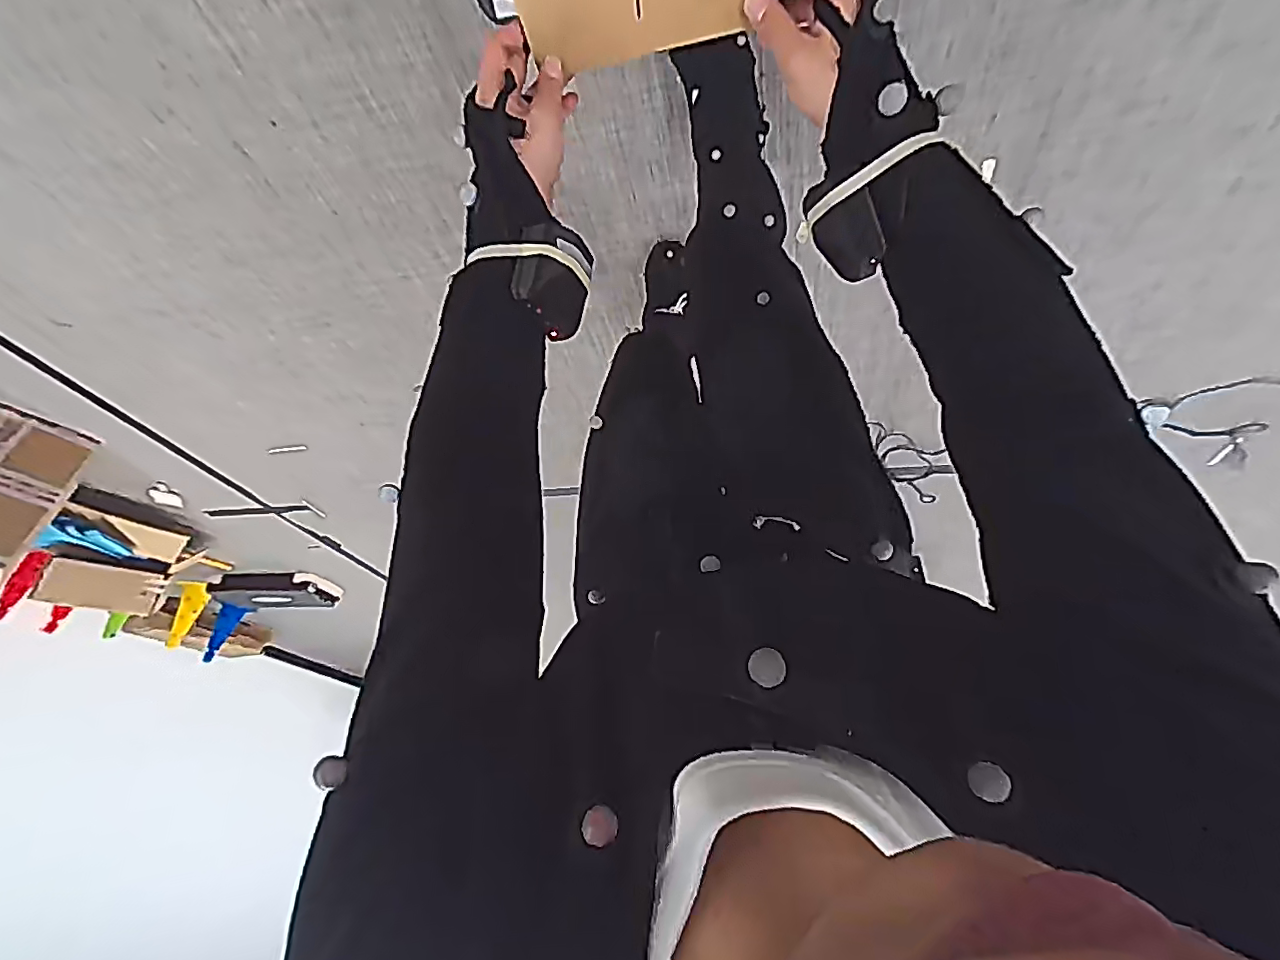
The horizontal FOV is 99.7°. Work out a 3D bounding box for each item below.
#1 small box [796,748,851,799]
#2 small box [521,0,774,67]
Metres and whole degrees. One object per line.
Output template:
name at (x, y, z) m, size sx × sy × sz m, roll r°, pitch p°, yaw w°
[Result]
small box at (0.718, 1.156, 2.129) m, size 0.179 × 0.176 × 0.168 m, roll -4°, pitch 147°, yaw 12°
small box at (-0.002, -0.414, 0.346) m, size 0.168 × 0.176 × 0.179 m, roll -2°, pitch 147°, yaw 14°
